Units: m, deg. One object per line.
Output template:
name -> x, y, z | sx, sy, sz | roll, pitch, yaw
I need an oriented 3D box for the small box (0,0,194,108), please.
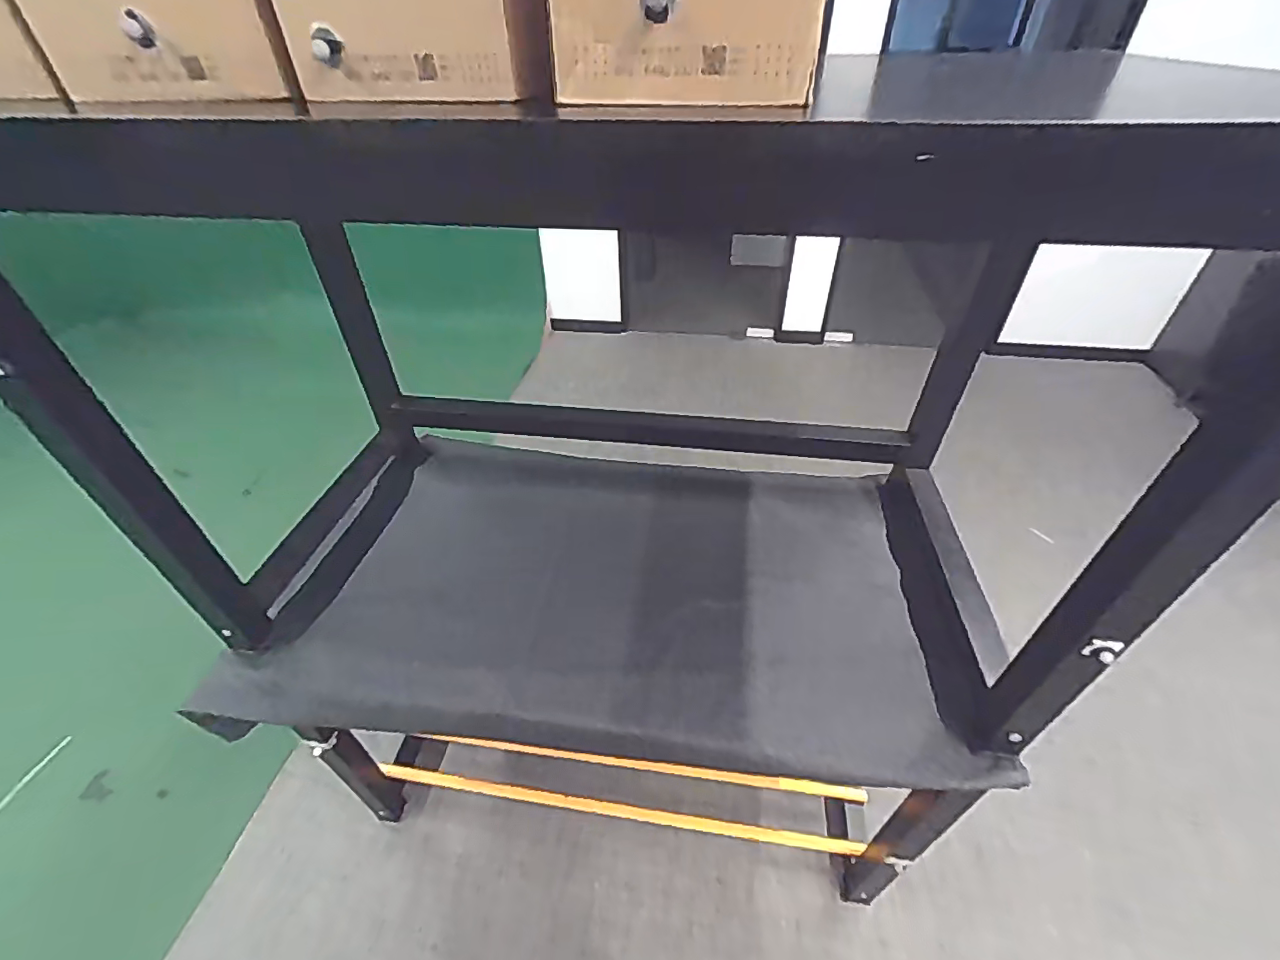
small box -> -0.539, -0.421, 0.455 | 0.168, 0.176, 0.179 | 2, 39, 1

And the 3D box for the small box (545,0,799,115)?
small box -> 0.028, -0.369, 0.379 | 0.168, 0.176, 0.179 | 5, 41, 8
